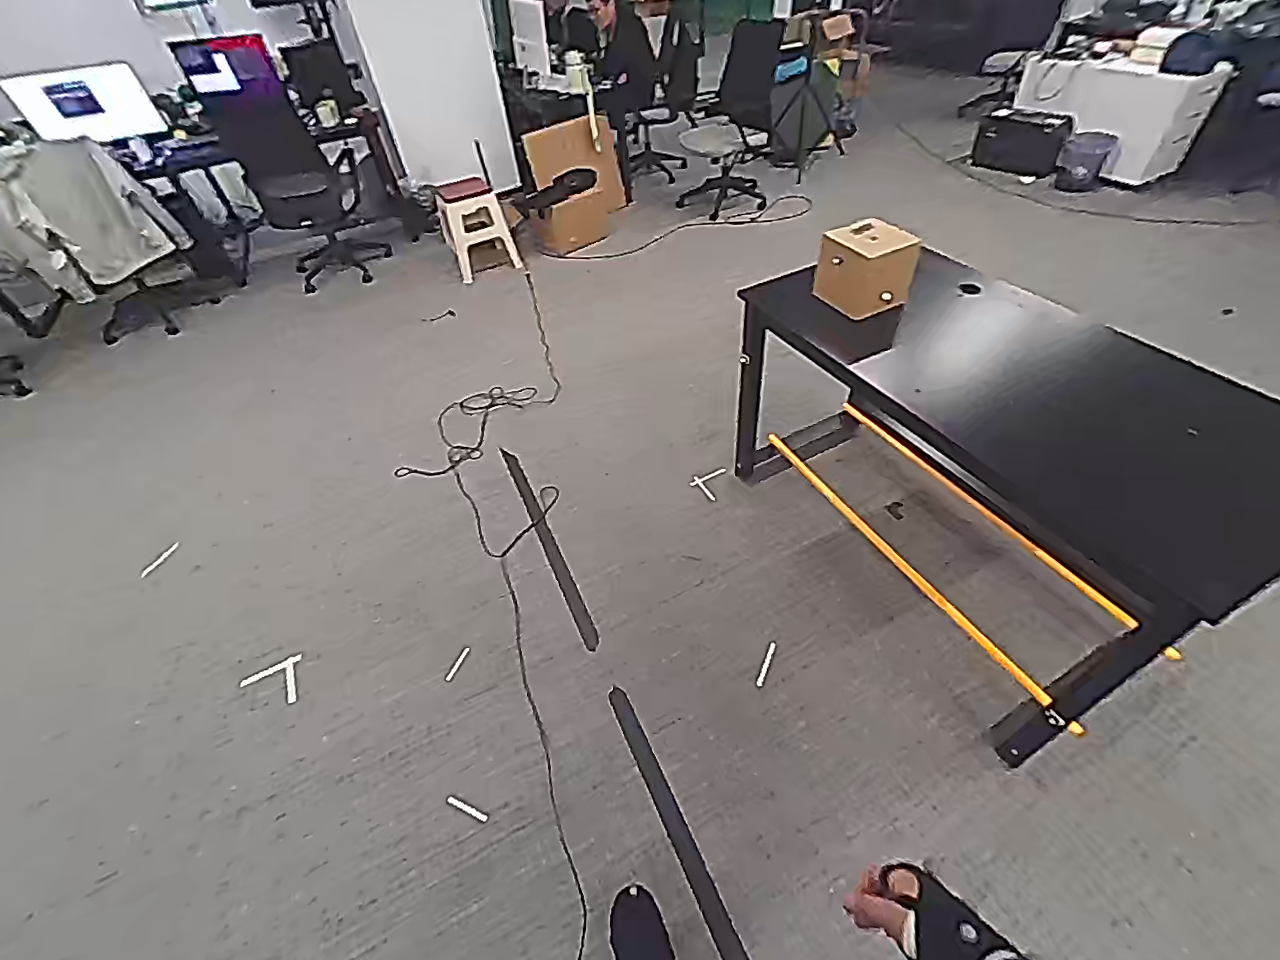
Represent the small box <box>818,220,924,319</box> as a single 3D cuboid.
[{"bbox_3d":[0.586,-0.545,1.400,0.168,0.176,0.179,-22,49,-14],"label":"small box"}]
